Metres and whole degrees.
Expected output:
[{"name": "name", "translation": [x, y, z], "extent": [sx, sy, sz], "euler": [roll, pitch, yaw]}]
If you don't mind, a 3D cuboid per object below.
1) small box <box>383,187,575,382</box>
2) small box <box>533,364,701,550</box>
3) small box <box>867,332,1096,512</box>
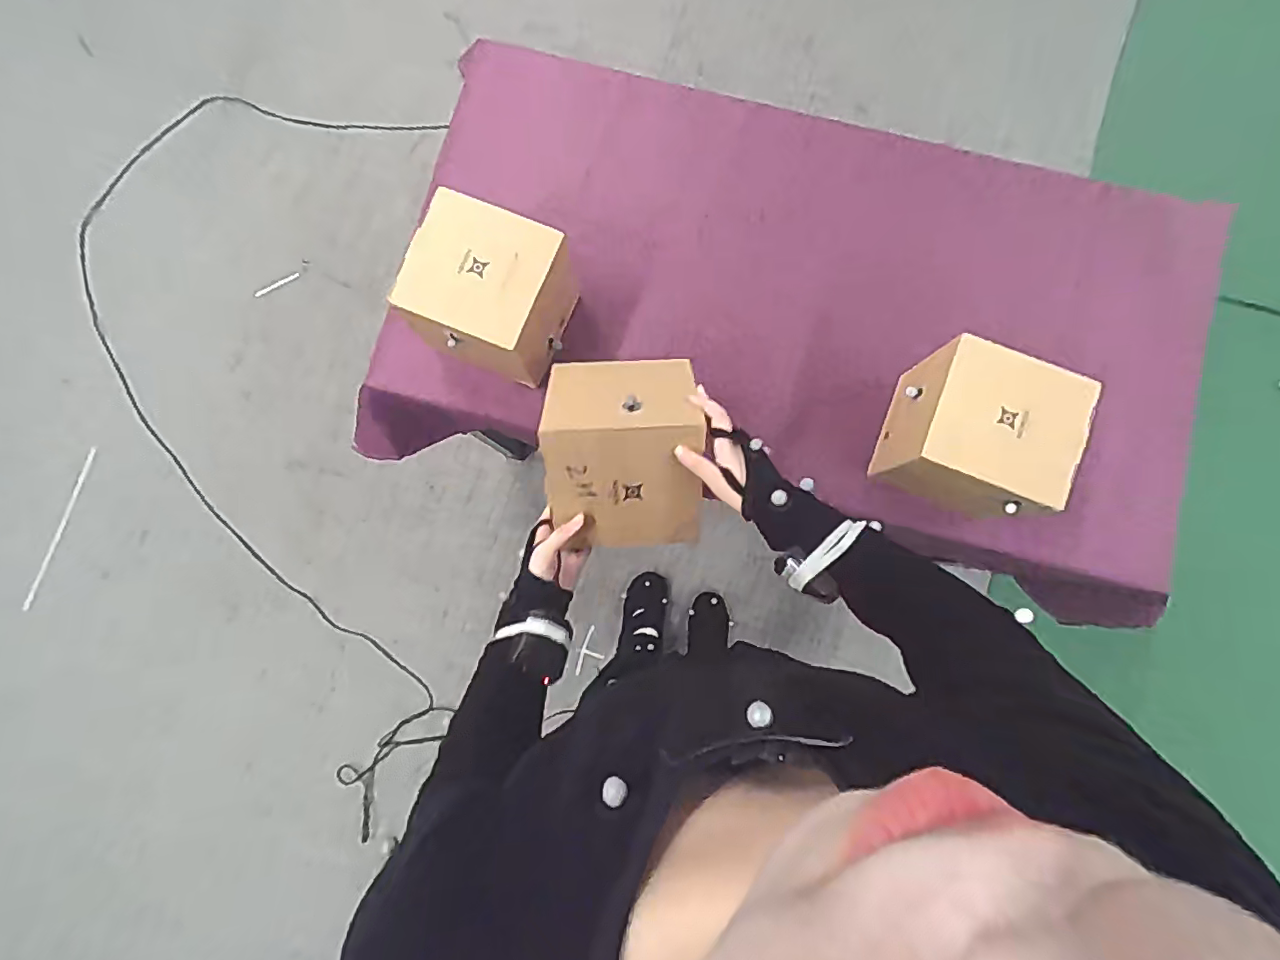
[{"name": "small box", "translation": [-0.206, -0.254, 0.745], "extent": [0.179, 0.176, 0.168], "euler": [22, 84, 3]}, {"name": "small box", "translation": [-0.027, -0.033, 0.662], "extent": [0.179, 0.176, 0.168], "euler": [-2, 126, -1]}, {"name": "small box", "translation": [0.431, -0.063, 0.713], "extent": [0.179, 0.176, 0.168], "euler": [22, 84, 3]}]
